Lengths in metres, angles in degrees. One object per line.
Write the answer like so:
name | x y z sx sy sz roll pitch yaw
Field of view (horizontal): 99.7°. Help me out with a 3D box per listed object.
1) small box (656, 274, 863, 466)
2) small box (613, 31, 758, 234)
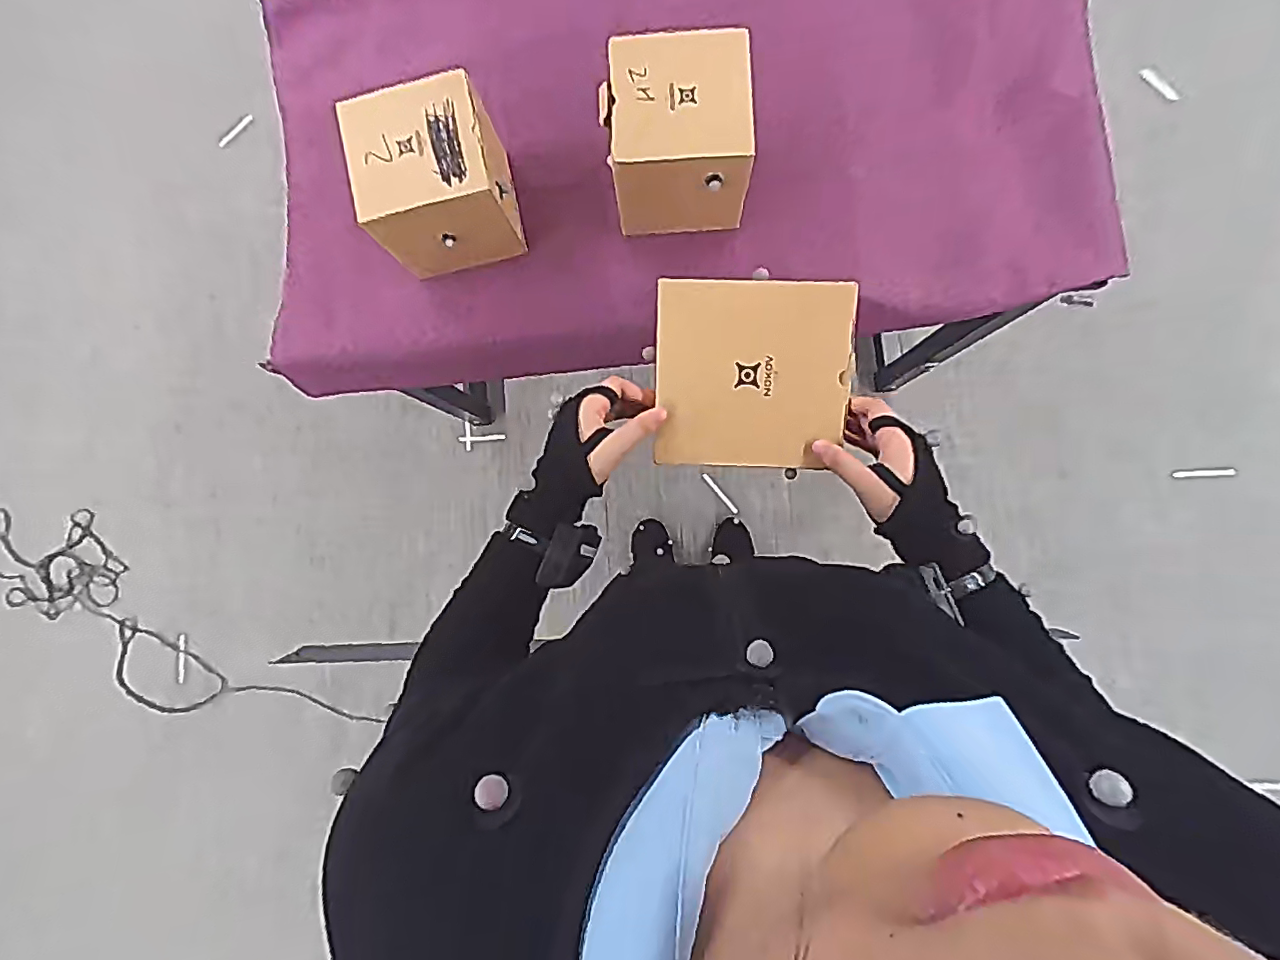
small box | 0.107 -0.108 0.560 0.179 0.176 0.168 2 99 1
small box | 0.059 -0.458 0.738 0.179 0.176 0.168 -2 85 4
